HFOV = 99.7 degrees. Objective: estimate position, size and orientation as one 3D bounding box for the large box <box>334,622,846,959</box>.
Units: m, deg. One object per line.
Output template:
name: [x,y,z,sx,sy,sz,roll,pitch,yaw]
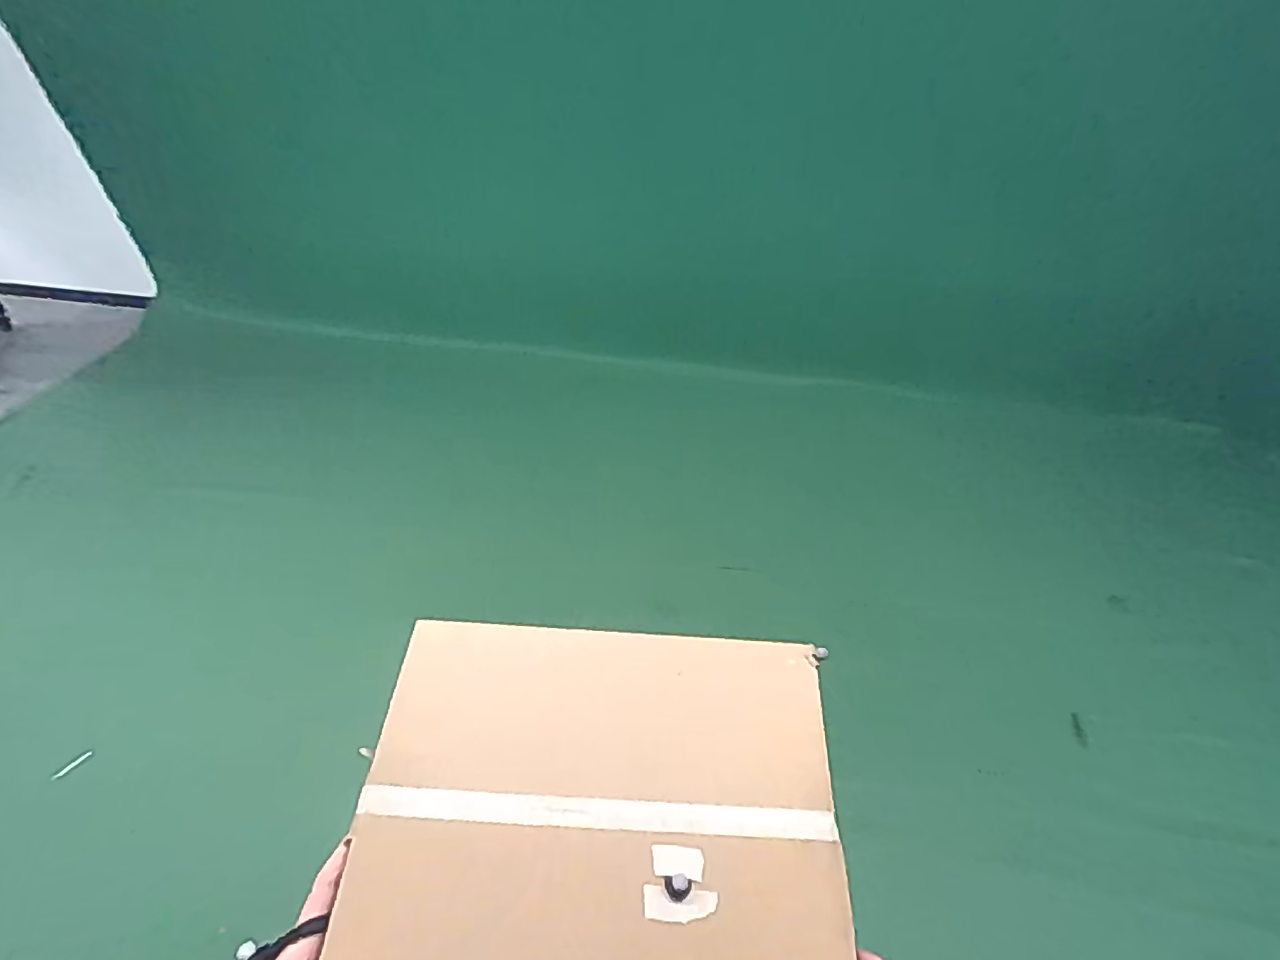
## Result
large box: [-0.039,0.368,0.599,0.408,0.320,0.320,4,56,0]
